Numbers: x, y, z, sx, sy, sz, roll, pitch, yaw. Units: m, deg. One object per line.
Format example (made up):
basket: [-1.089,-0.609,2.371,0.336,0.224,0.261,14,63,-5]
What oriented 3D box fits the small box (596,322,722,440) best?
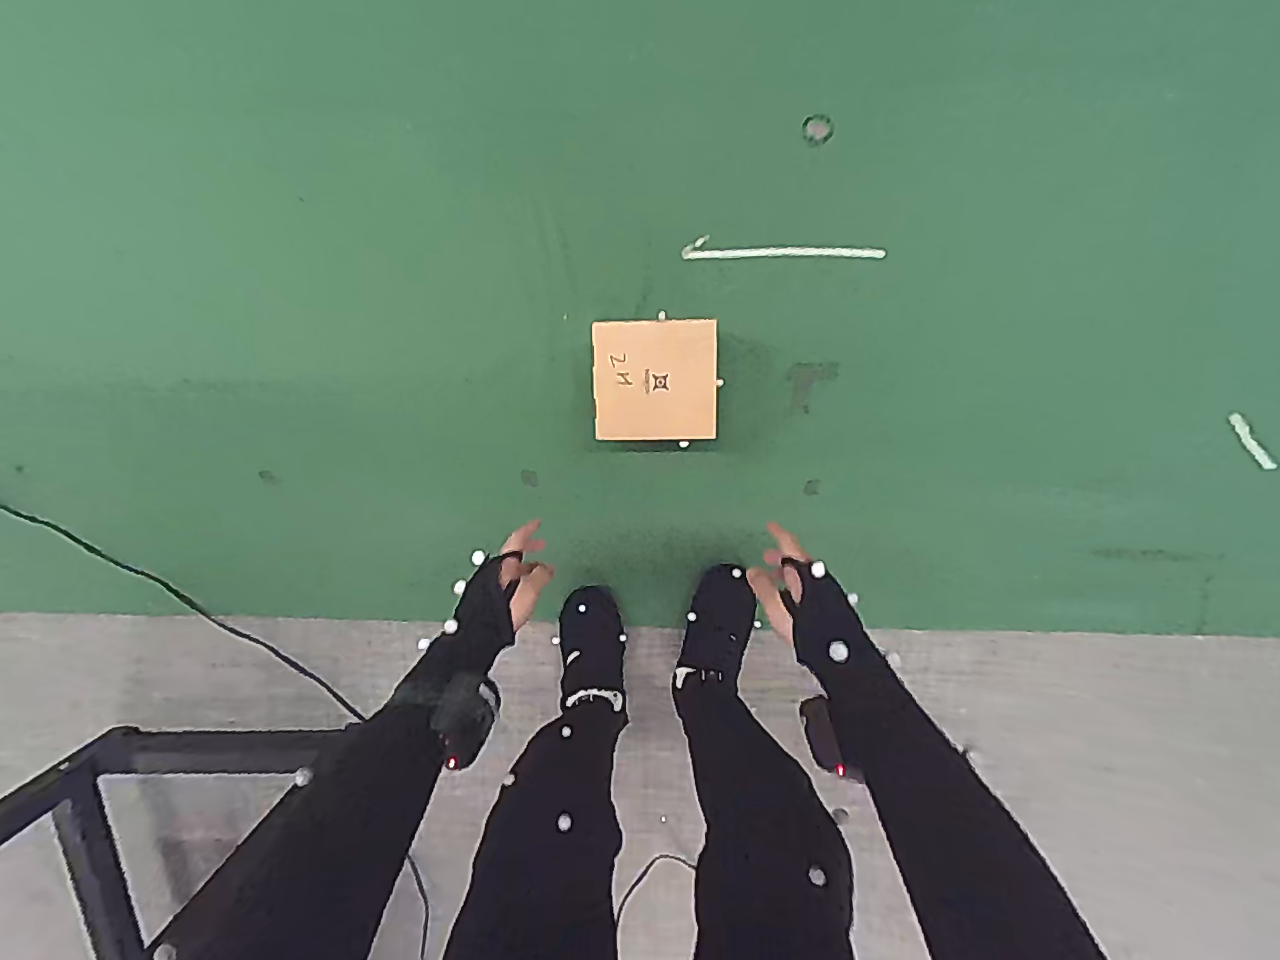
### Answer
small box: [0.030,-0.154,0.835,0.179,0.176,0.168,0,101,5]
